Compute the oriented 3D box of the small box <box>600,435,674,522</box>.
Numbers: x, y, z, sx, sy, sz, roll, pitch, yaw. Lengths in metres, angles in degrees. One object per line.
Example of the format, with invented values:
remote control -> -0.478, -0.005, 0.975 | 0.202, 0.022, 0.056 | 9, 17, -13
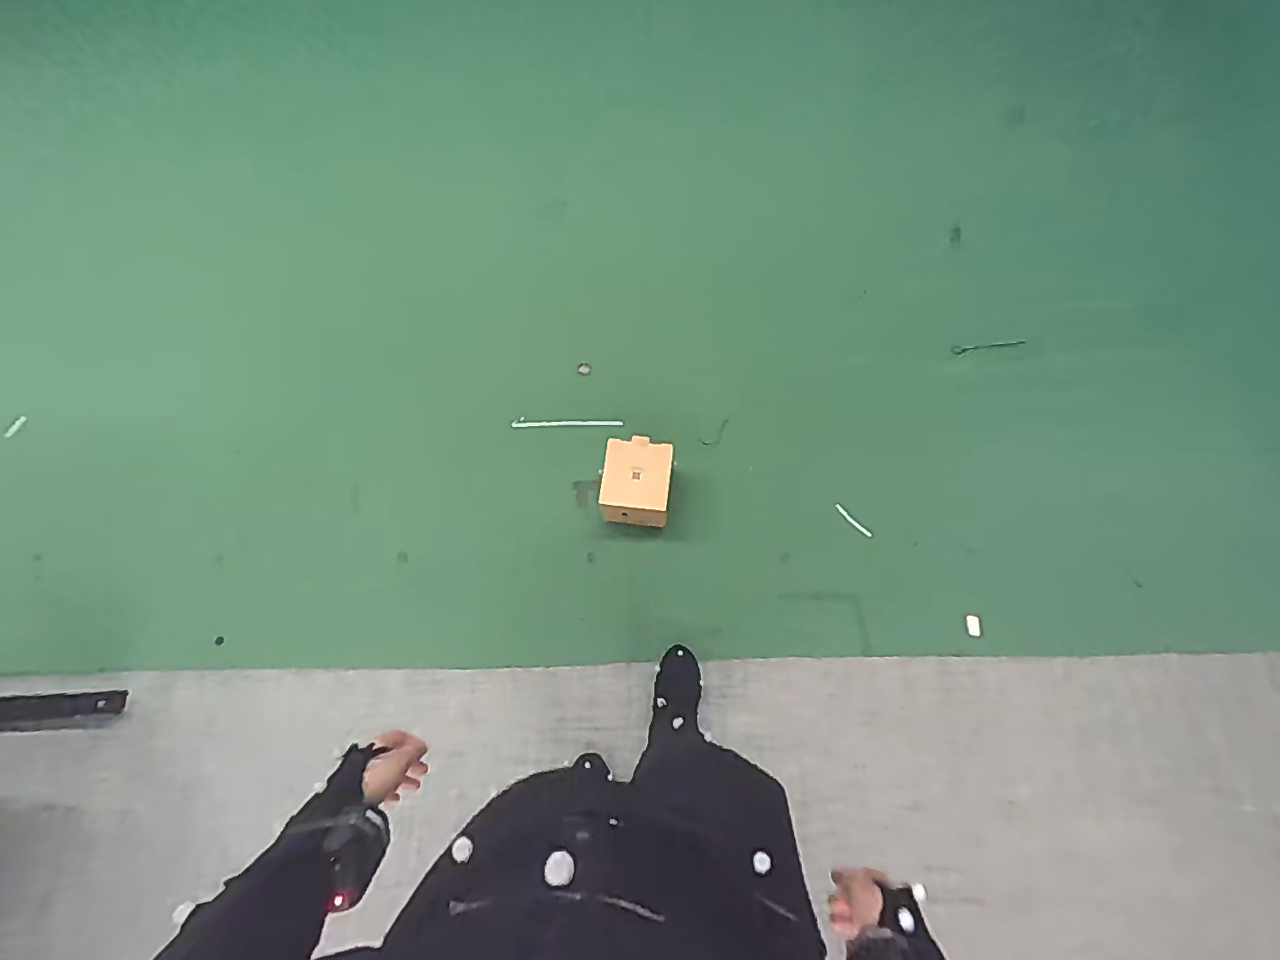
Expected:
small box -> -0.004, 0.002, 1.389 | 0.168, 0.176, 0.179 | 6, 71, 3
